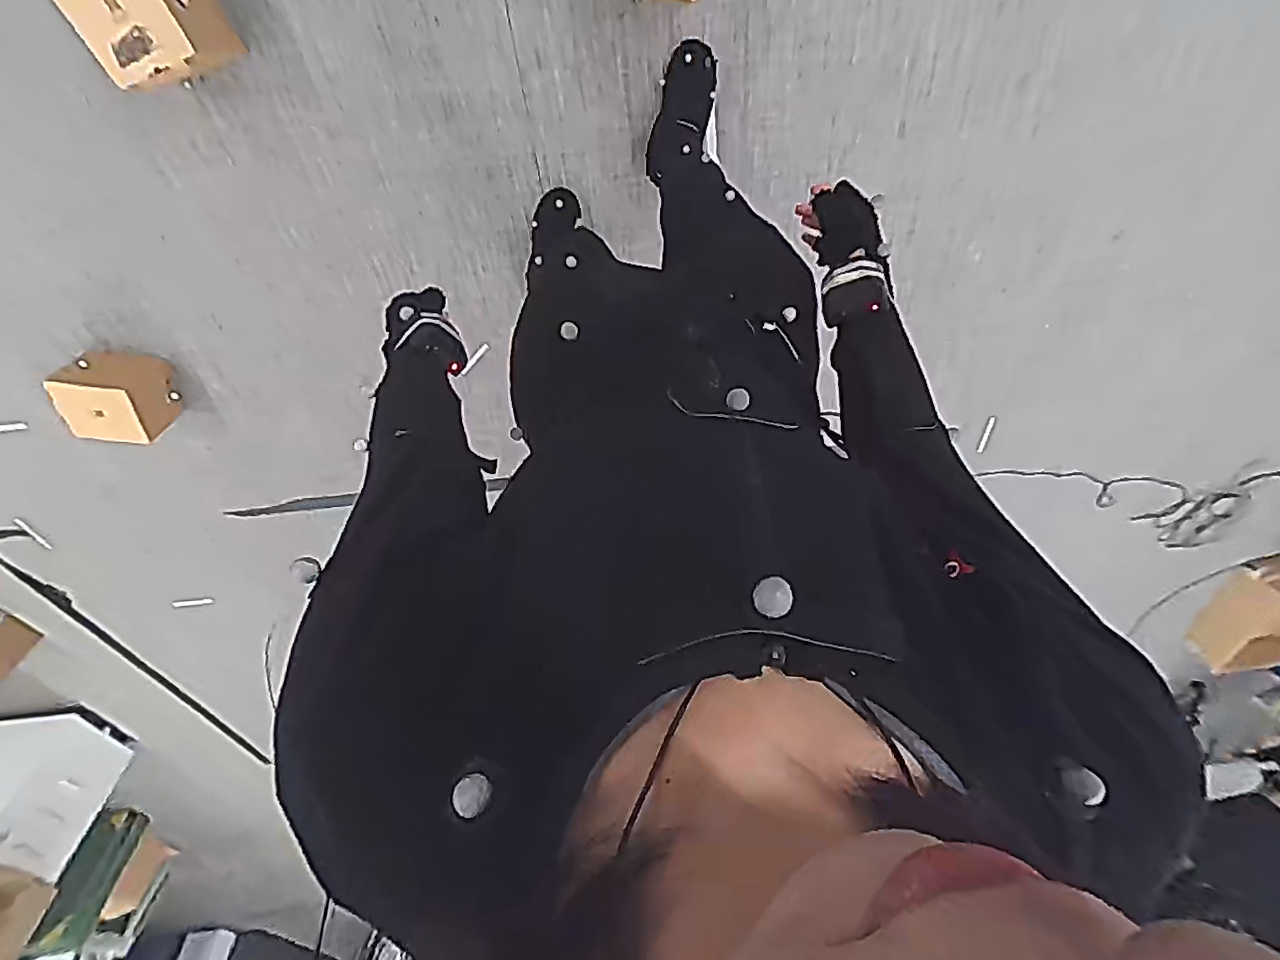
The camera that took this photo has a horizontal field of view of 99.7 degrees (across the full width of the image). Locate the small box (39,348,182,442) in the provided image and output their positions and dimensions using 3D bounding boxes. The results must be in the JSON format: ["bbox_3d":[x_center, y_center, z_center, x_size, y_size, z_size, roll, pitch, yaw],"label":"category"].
[{"bbox_3d":[-1.337,-0.220,1.382,0.179,0.176,0.168,5,130,-10],"label":"small box"}]

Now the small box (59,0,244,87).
[{"bbox_3d":[-0.847,-0.816,0.935,0.168,0.176,0.179,-15,128,8],"label":"small box"}]

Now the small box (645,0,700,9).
[{"bbox_3d":[0.030,-0.930,0.913,0.168,0.176,0.179,5,128,-9],"label":"small box"}]
